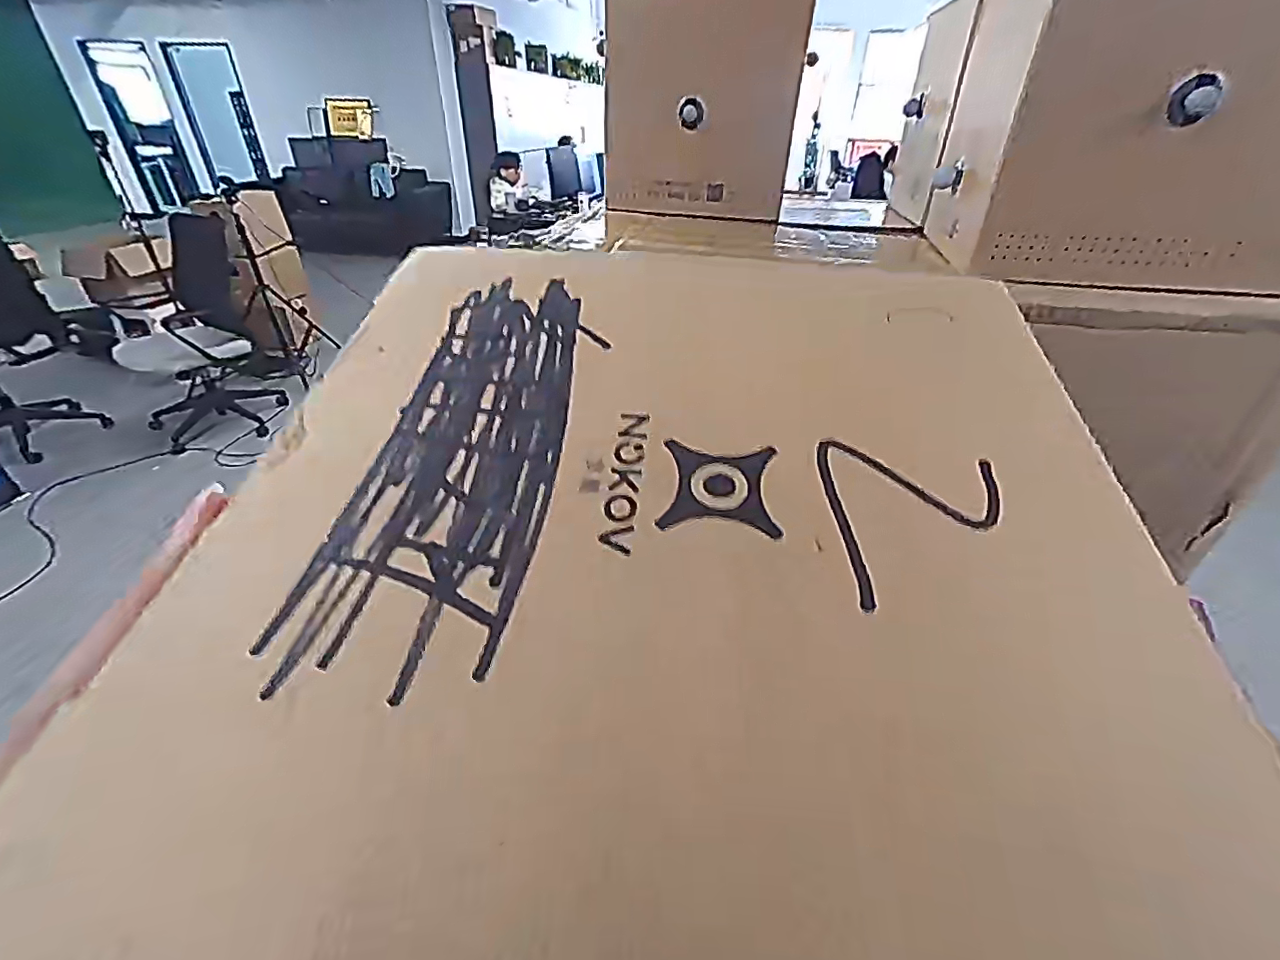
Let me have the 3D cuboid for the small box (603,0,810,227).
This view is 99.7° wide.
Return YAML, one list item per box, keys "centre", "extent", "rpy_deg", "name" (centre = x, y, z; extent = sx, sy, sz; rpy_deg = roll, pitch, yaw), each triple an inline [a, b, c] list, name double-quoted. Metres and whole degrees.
- centre: [0.065, -0.354, 0.529]
  extent: [0.168, 0.176, 0.179]
  rpy_deg: [8, 35, 7]
  name: "small box"
